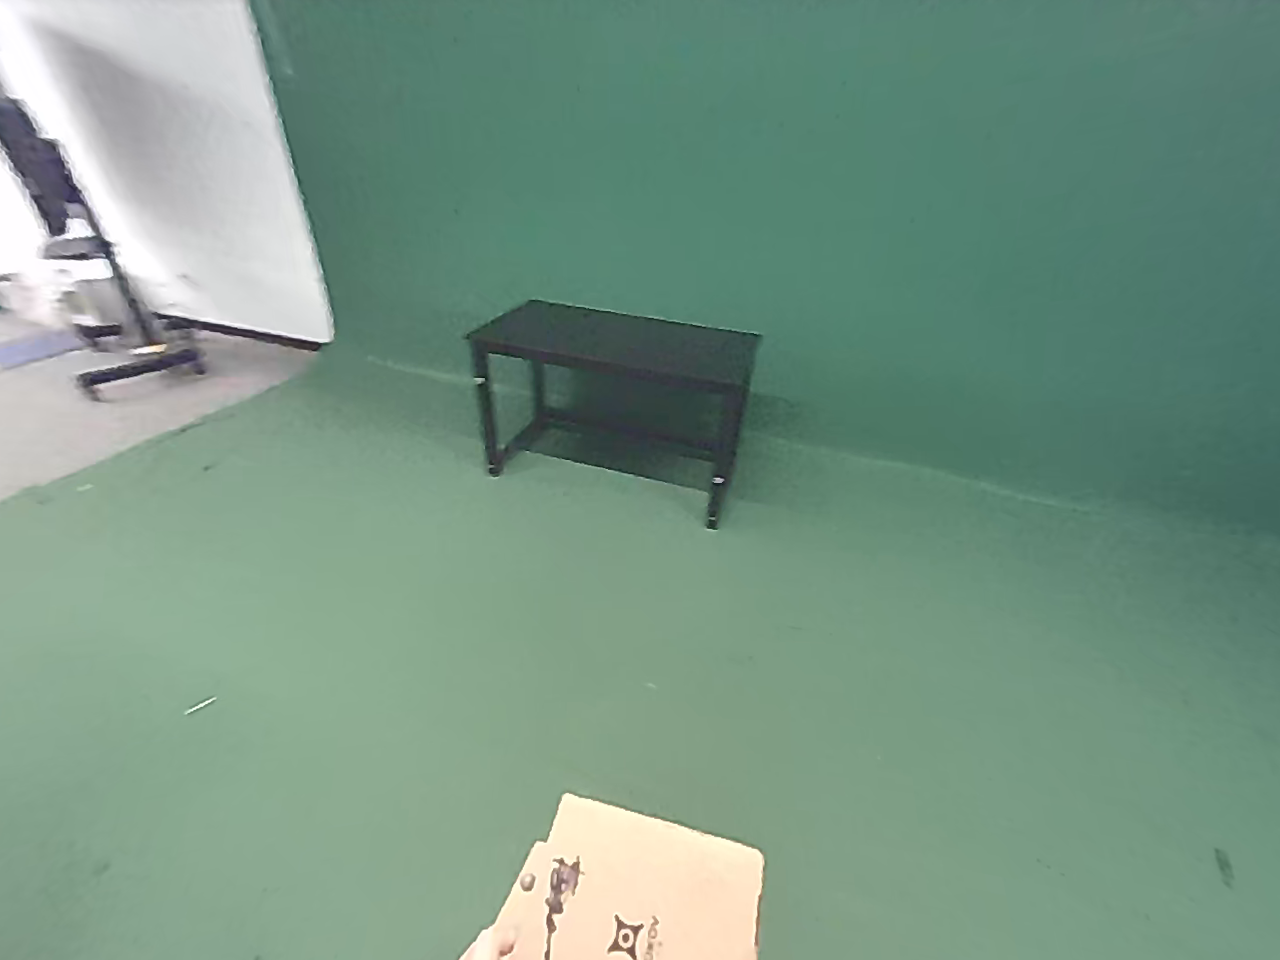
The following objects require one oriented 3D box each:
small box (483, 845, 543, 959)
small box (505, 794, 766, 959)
[{"bbox_3d":[-0.141,0.774,0.909,0.168,0.176,0.179,15,35,16],"label":"small box"},{"bbox_3d":[-0.009,0.392,0.438,0.179,0.176,0.168,12,42,9],"label":"small box"}]
